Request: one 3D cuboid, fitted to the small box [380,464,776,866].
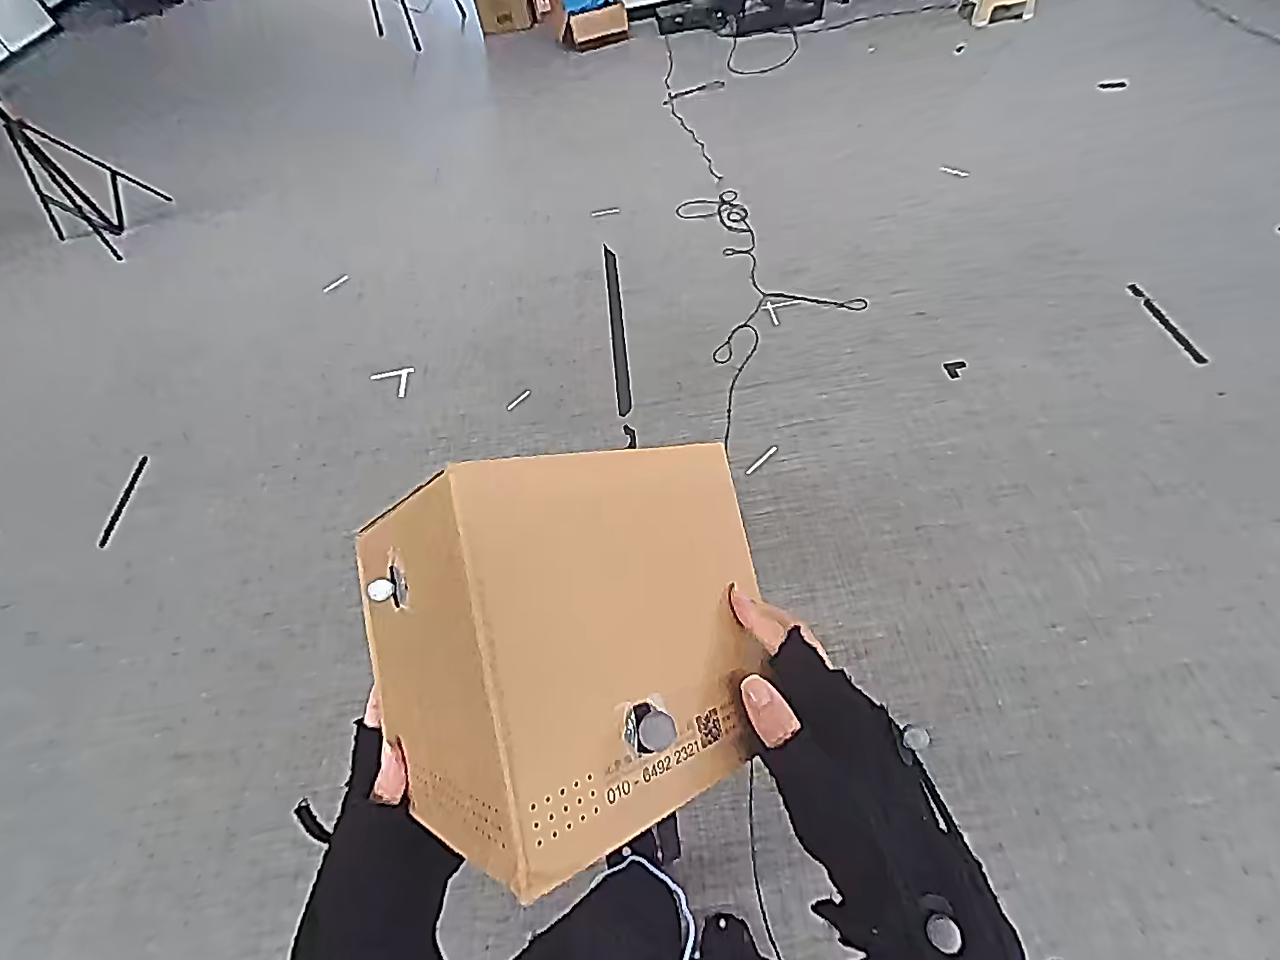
[{"bbox_3d":[-0.046,0.096,0.336,0.168,0.179,0.176,-6,80,-40],"label":"small box"}]
